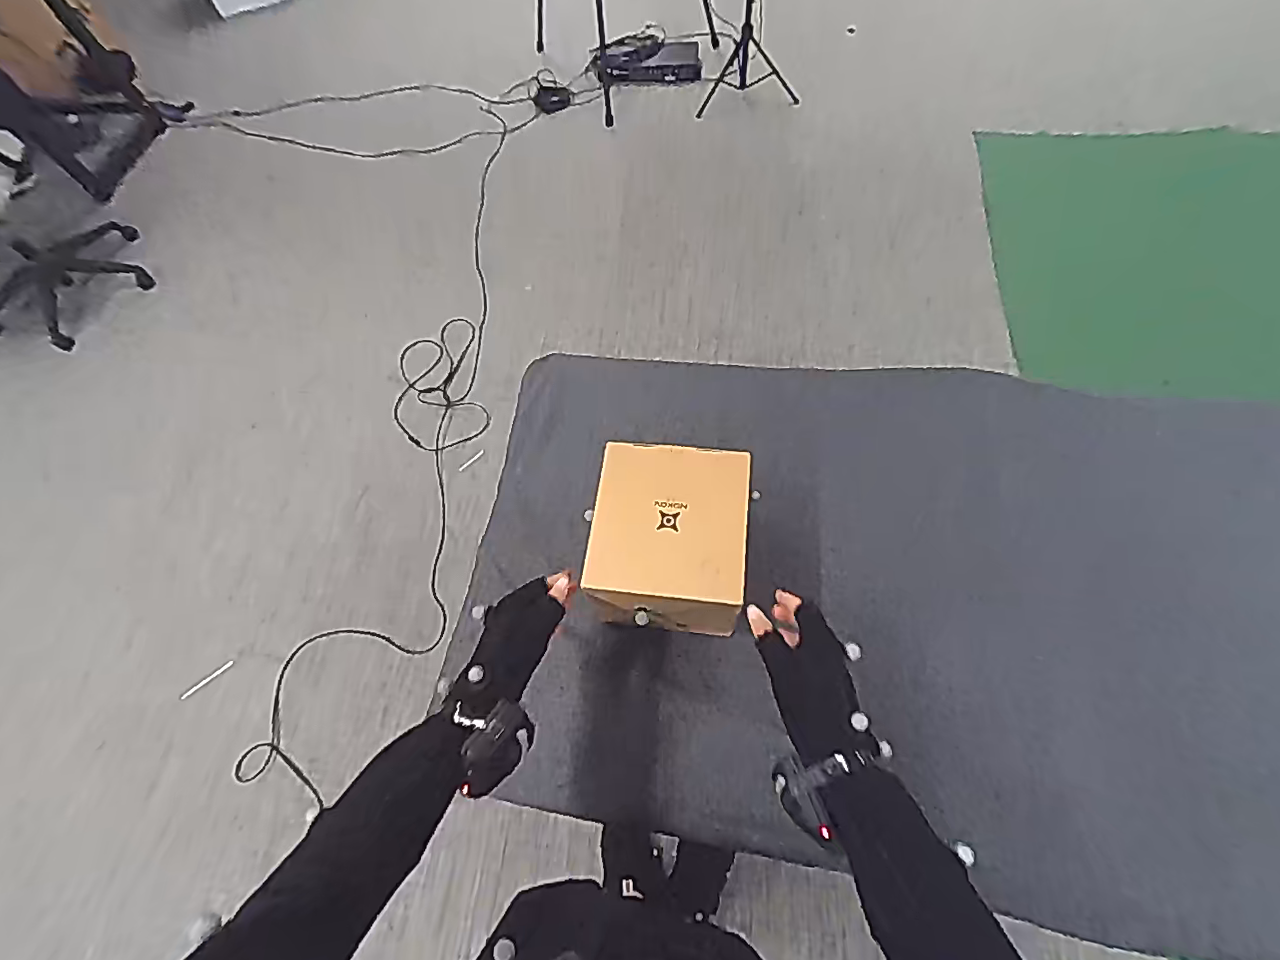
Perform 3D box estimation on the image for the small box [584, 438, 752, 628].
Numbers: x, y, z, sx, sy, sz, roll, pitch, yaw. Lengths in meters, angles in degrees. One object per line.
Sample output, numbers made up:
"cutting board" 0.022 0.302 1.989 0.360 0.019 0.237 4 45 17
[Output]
"small box" 0.041 0.070 0.644 0.168 0.176 0.179 4 64 7
